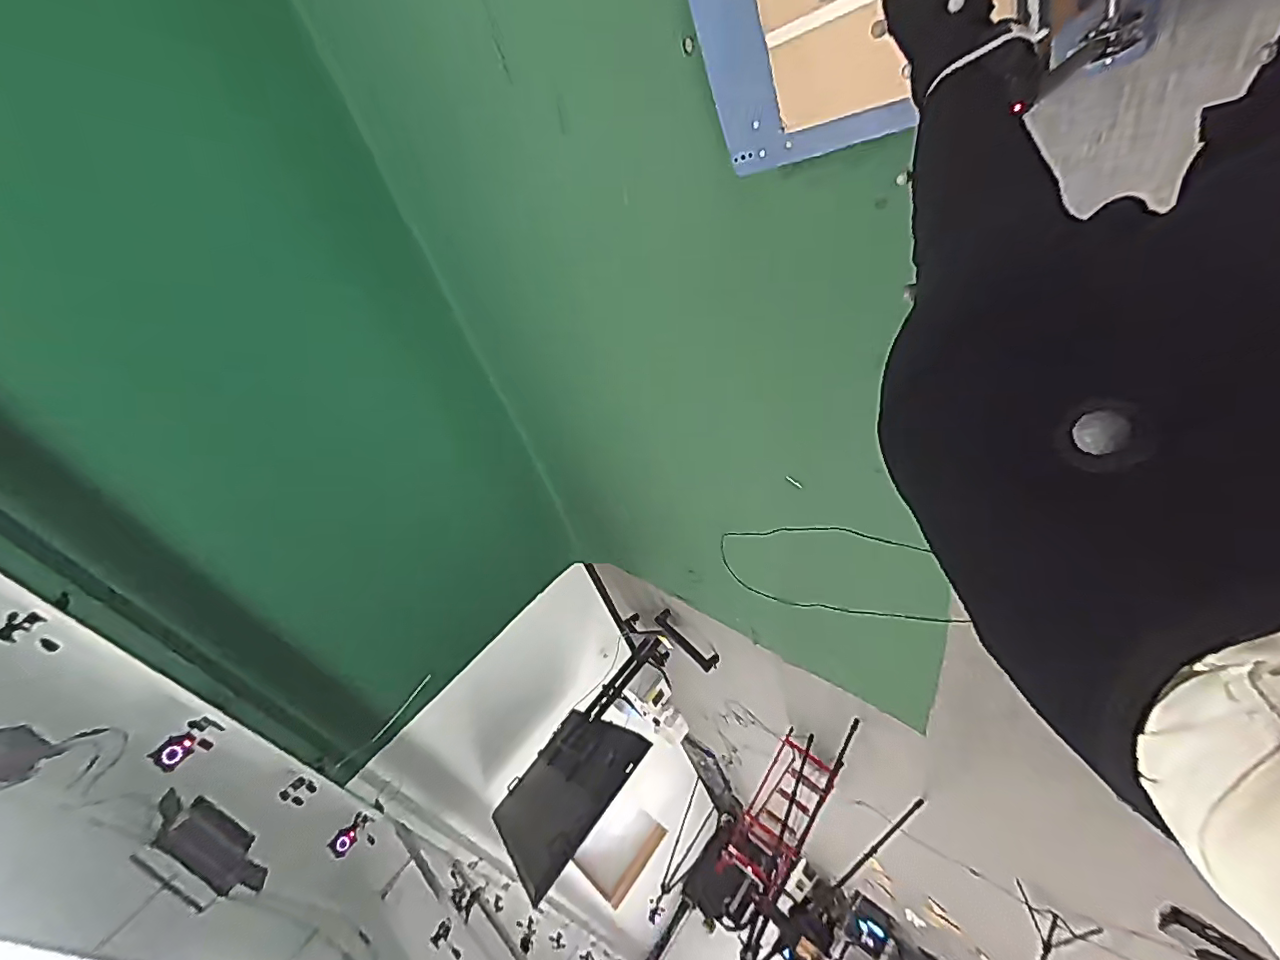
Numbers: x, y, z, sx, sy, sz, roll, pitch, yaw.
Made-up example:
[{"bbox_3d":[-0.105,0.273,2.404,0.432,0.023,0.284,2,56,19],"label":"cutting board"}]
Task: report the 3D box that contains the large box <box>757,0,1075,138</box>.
[{"bbox_3d":[0.465,-0.859,0.927,0.408,0.320,0.320,15,139,45],"label":"large box"}]
